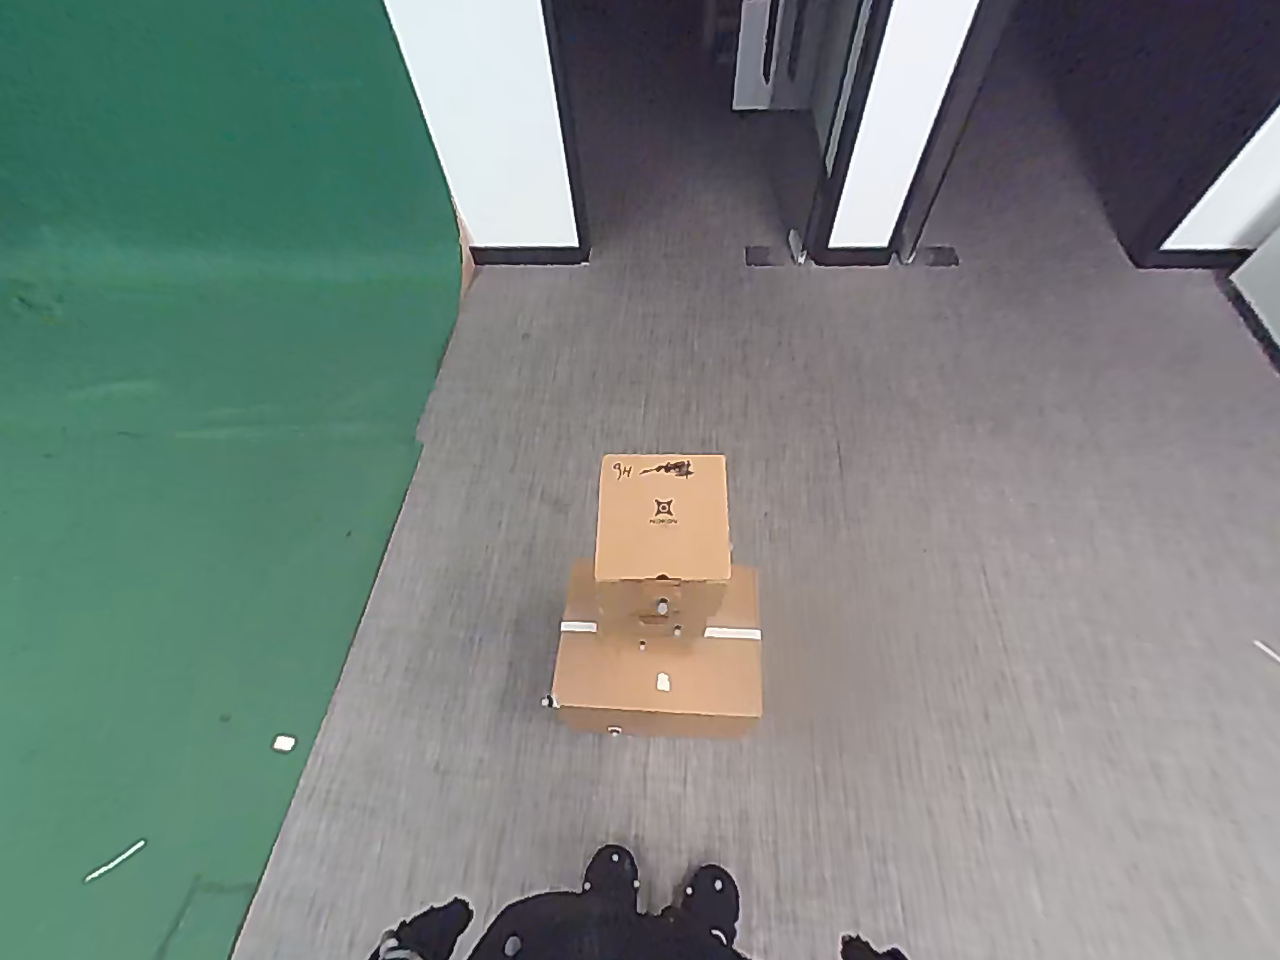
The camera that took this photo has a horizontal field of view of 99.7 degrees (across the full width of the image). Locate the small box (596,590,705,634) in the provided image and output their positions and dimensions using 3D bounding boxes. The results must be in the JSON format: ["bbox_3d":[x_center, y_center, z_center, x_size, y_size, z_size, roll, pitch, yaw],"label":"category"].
[{"bbox_3d":[0.022,0.156,0.904,0.168,0.176,0.179,0,62,2],"label":"small box"}]

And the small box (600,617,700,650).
[{"bbox_3d":[0.024,0.231,1.048,0.179,0.176,0.168,2,64,4],"label":"small box"}]

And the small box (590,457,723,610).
[{"bbox_3d":[0.028,0.082,0.759,0.168,0.176,0.179,0,64,3],"label":"small box"}]
